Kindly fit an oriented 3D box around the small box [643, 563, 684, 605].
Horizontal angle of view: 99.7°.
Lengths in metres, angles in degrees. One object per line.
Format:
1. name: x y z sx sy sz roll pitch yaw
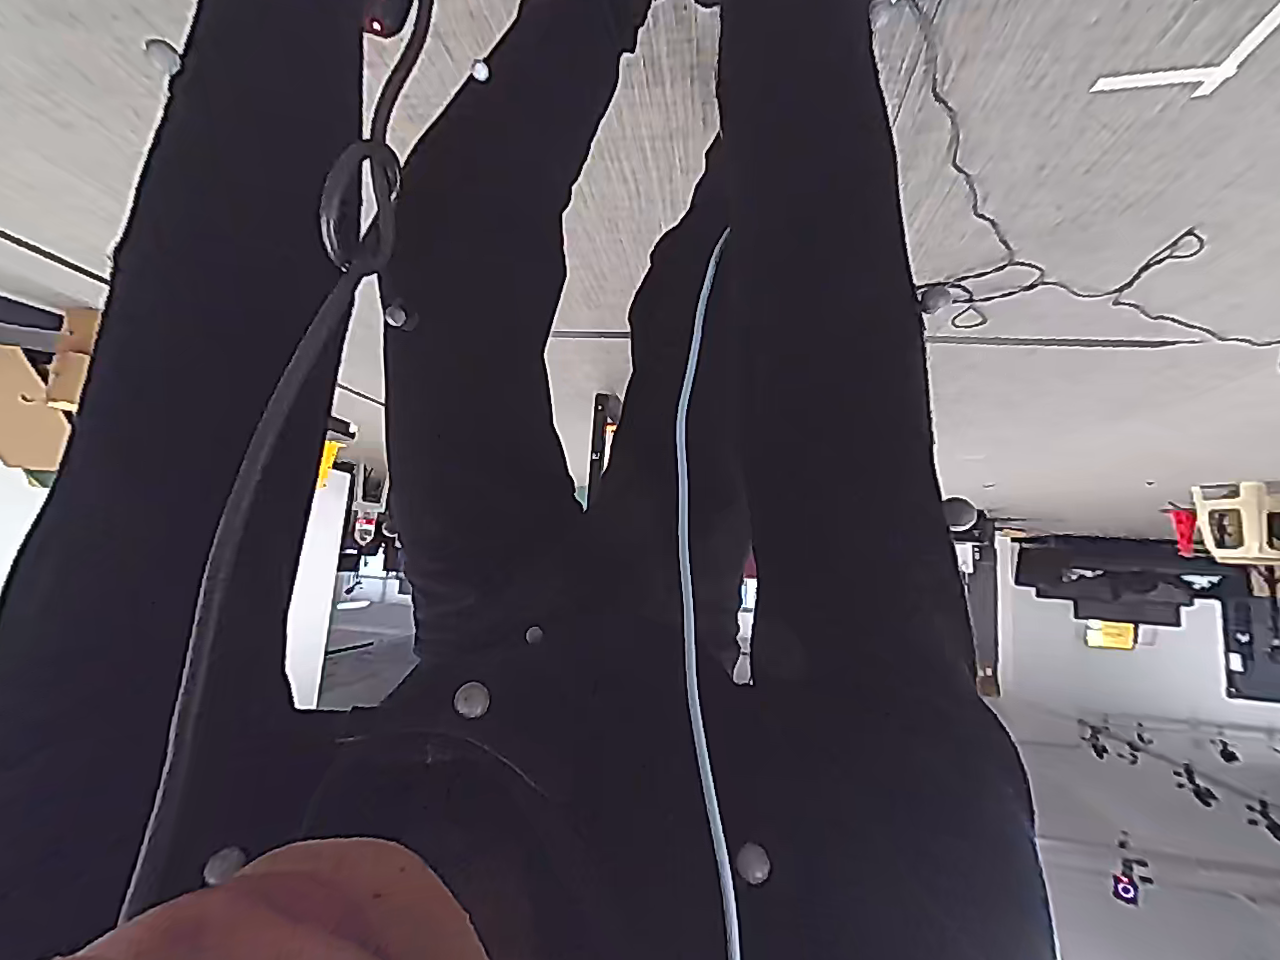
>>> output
1. small box: 0.106 0.451 2.366 0.168 0.176 0.179 3 173 9
